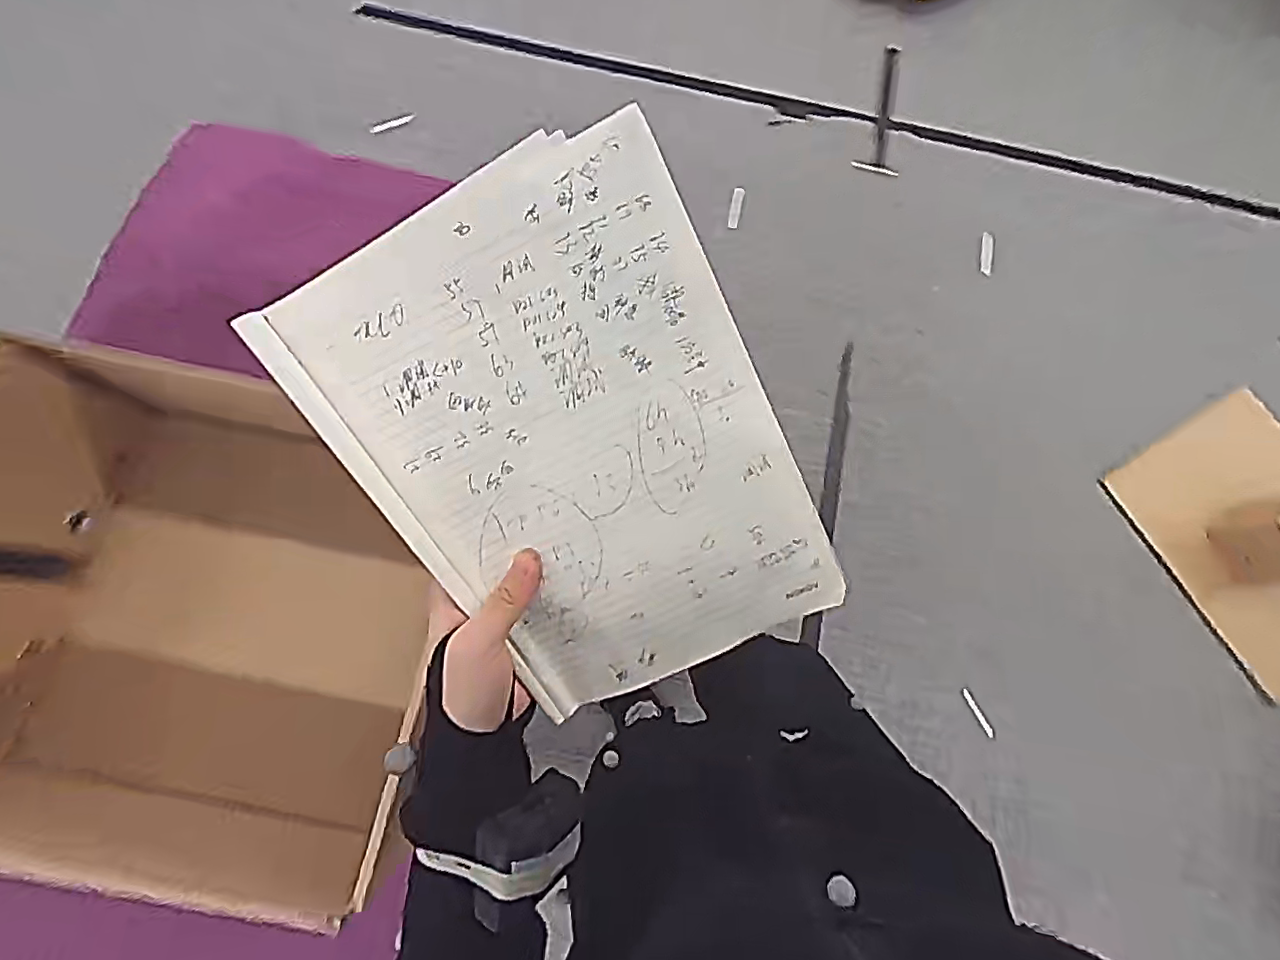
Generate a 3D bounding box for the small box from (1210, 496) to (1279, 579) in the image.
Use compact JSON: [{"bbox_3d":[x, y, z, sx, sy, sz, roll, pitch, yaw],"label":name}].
[{"bbox_3d":[1.683,0.148,1.414,0.168,0.176,0.179,-32,82,-10],"label":"small box"}]
